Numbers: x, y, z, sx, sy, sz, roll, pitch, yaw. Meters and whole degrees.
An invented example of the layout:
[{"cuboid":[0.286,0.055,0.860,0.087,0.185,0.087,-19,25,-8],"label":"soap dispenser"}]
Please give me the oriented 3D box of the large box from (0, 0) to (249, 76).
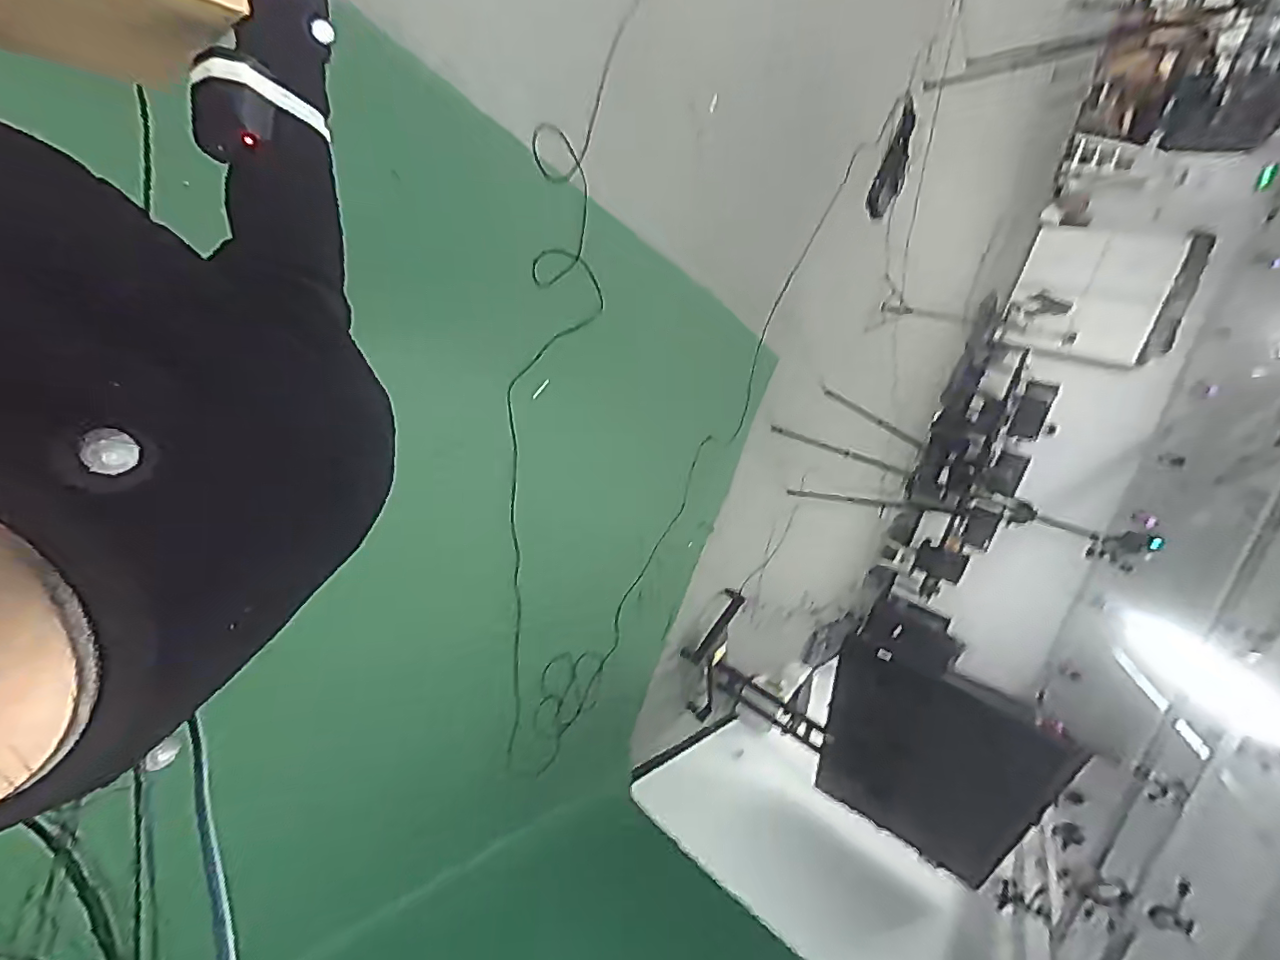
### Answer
[{"cuboid":[-0.521,-0.496,0.309,0.408,0.320,0.320,-15,117,-47],"label":"large box"}]
